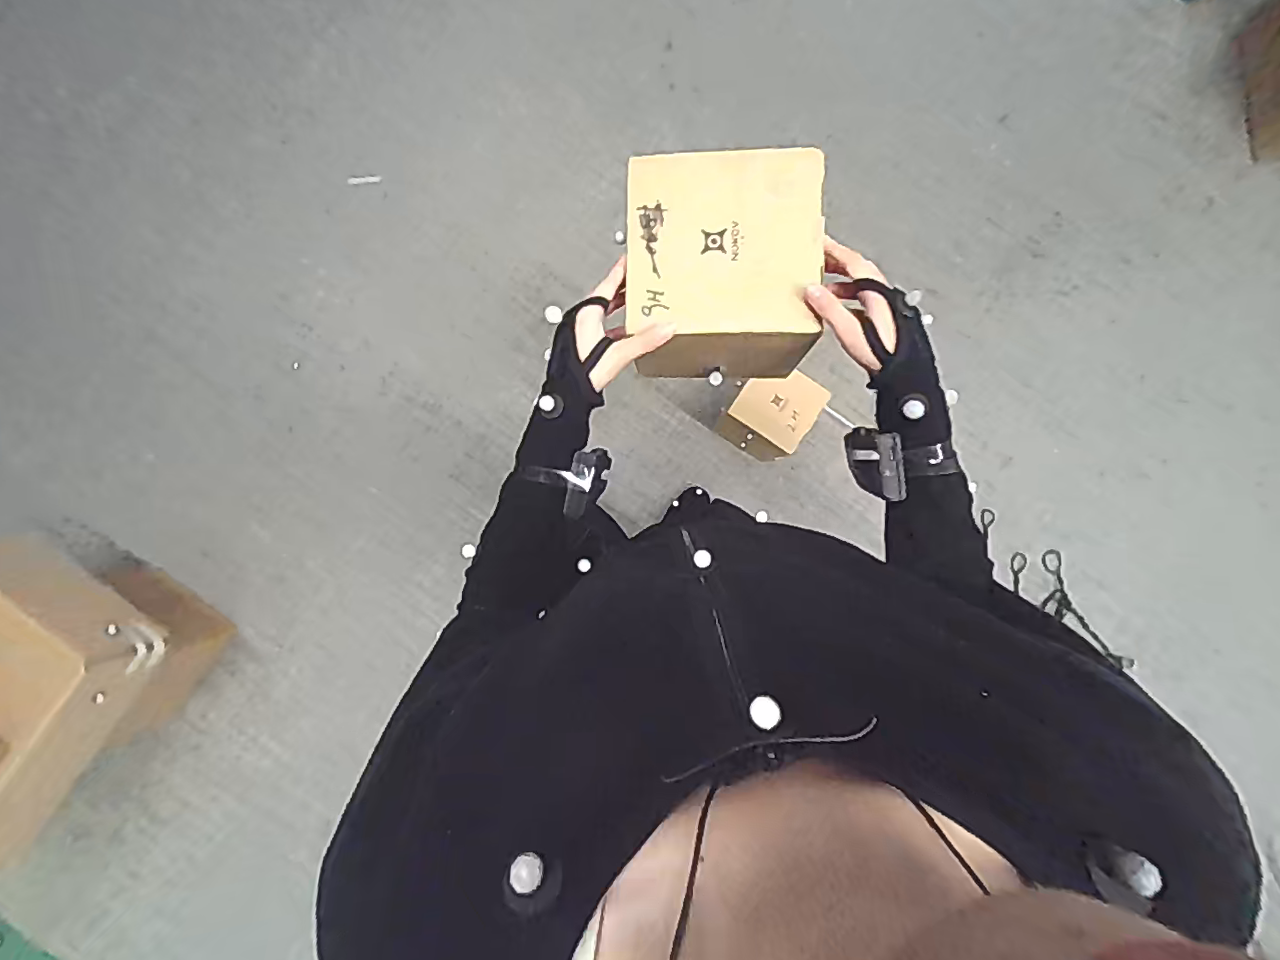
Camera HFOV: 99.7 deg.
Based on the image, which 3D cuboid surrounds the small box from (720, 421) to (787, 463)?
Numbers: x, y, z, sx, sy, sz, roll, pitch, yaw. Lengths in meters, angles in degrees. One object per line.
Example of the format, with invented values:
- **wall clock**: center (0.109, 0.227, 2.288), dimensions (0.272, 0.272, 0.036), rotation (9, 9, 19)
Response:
- **small box**: center (0.330, -0.154, 1.426), dimensions (0.179, 0.176, 0.168), rotation (34, 90, 1)

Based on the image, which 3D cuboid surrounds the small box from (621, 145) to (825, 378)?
- **small box**: center (0.077, -0.206, 0.550), dimensions (0.179, 0.176, 0.168), rotation (1, 85, 4)

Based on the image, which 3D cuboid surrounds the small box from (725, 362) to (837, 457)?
- **small box**: center (0.318, -0.163, 1.262), dimensions (0.179, 0.176, 0.168), rotation (35, 91, 1)
